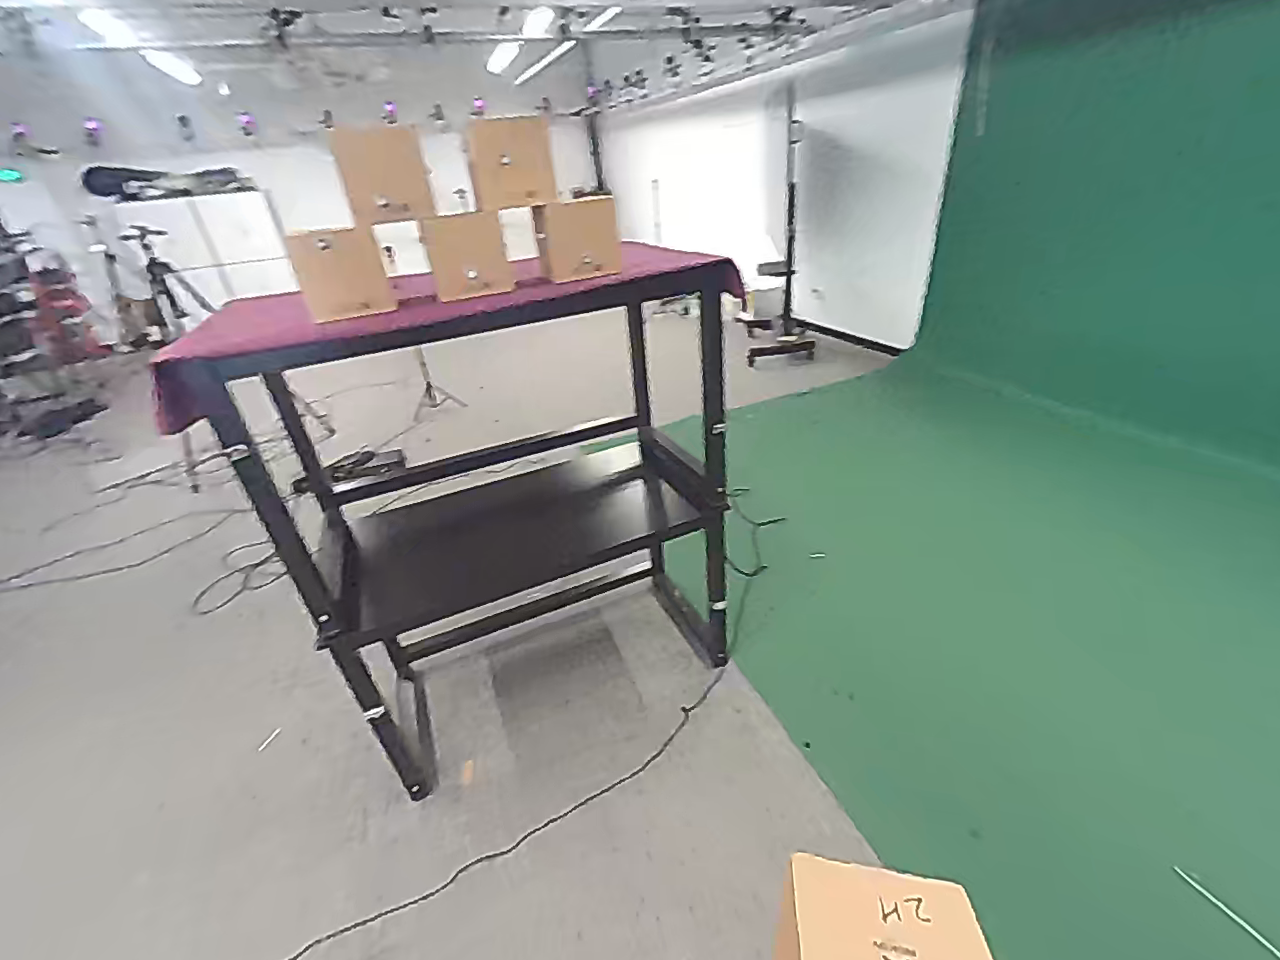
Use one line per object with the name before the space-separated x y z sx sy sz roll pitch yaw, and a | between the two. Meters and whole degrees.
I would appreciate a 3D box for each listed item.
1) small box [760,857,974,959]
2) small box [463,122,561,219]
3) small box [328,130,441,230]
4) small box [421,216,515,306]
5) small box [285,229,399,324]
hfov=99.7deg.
small box | 0.195 0.485 0.469 0.168 0.176 0.179 7 14 9
small box | -0.283 -0.678 1.200 0.168 0.176 0.179 -15 29 -17
small box | -0.521 -0.616 1.125 0.168 0.176 0.179 -15 30 -16
small box | -0.395 -0.503 1.238 0.168 0.176 0.179 -16 31 -18
small box | -0.626 -0.438 1.156 0.168 0.176 0.179 -16 29 -19
